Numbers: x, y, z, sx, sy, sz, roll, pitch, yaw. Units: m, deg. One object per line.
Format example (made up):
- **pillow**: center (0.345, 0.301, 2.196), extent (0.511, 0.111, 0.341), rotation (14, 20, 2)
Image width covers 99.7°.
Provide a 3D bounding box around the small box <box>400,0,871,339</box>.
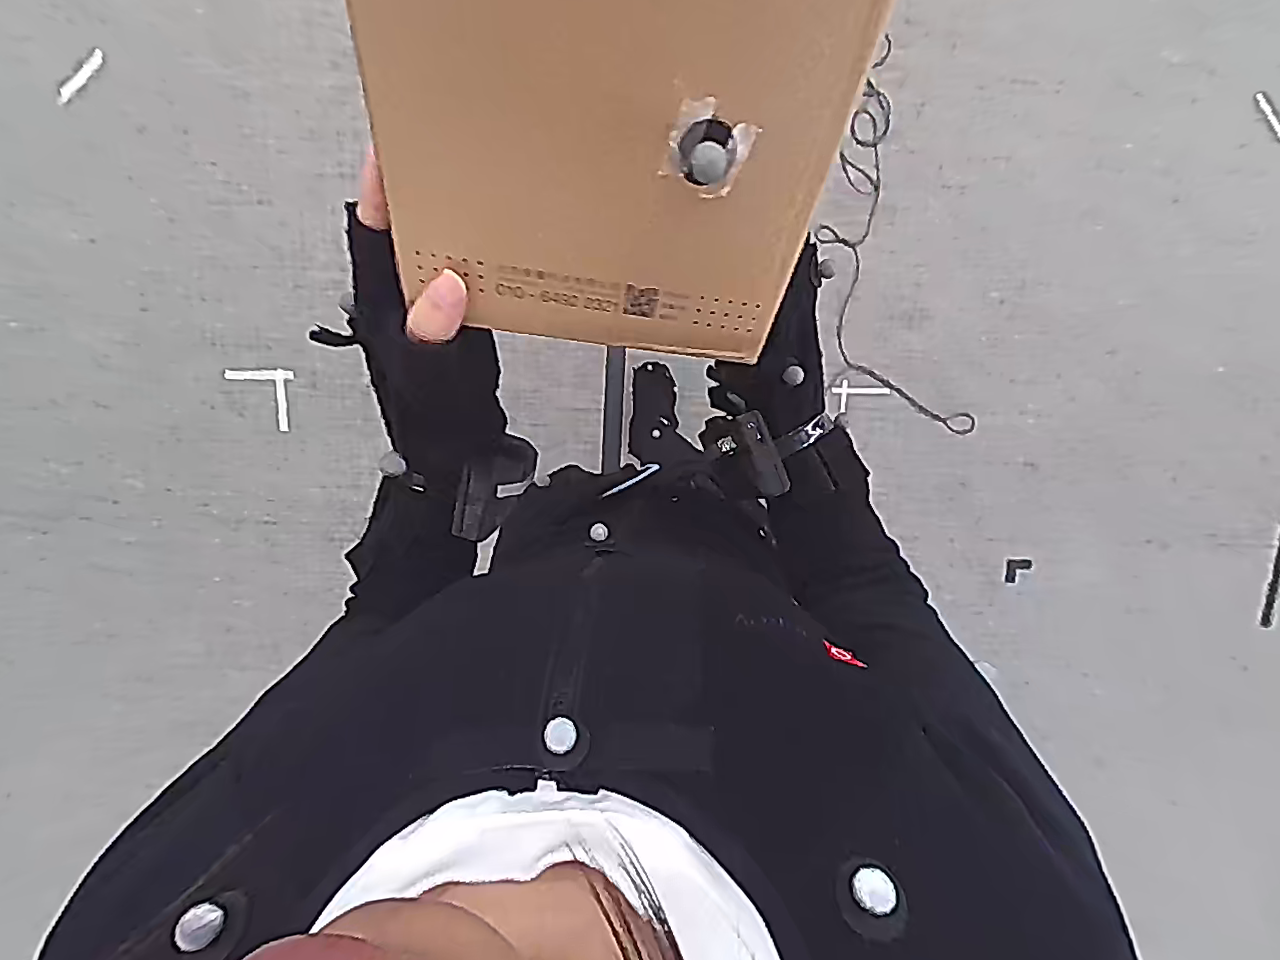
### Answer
- **small box**: center (-0.006, -0.192, 0.270), extent (0.168, 0.179, 0.176), rotation (6, 138, -7)
